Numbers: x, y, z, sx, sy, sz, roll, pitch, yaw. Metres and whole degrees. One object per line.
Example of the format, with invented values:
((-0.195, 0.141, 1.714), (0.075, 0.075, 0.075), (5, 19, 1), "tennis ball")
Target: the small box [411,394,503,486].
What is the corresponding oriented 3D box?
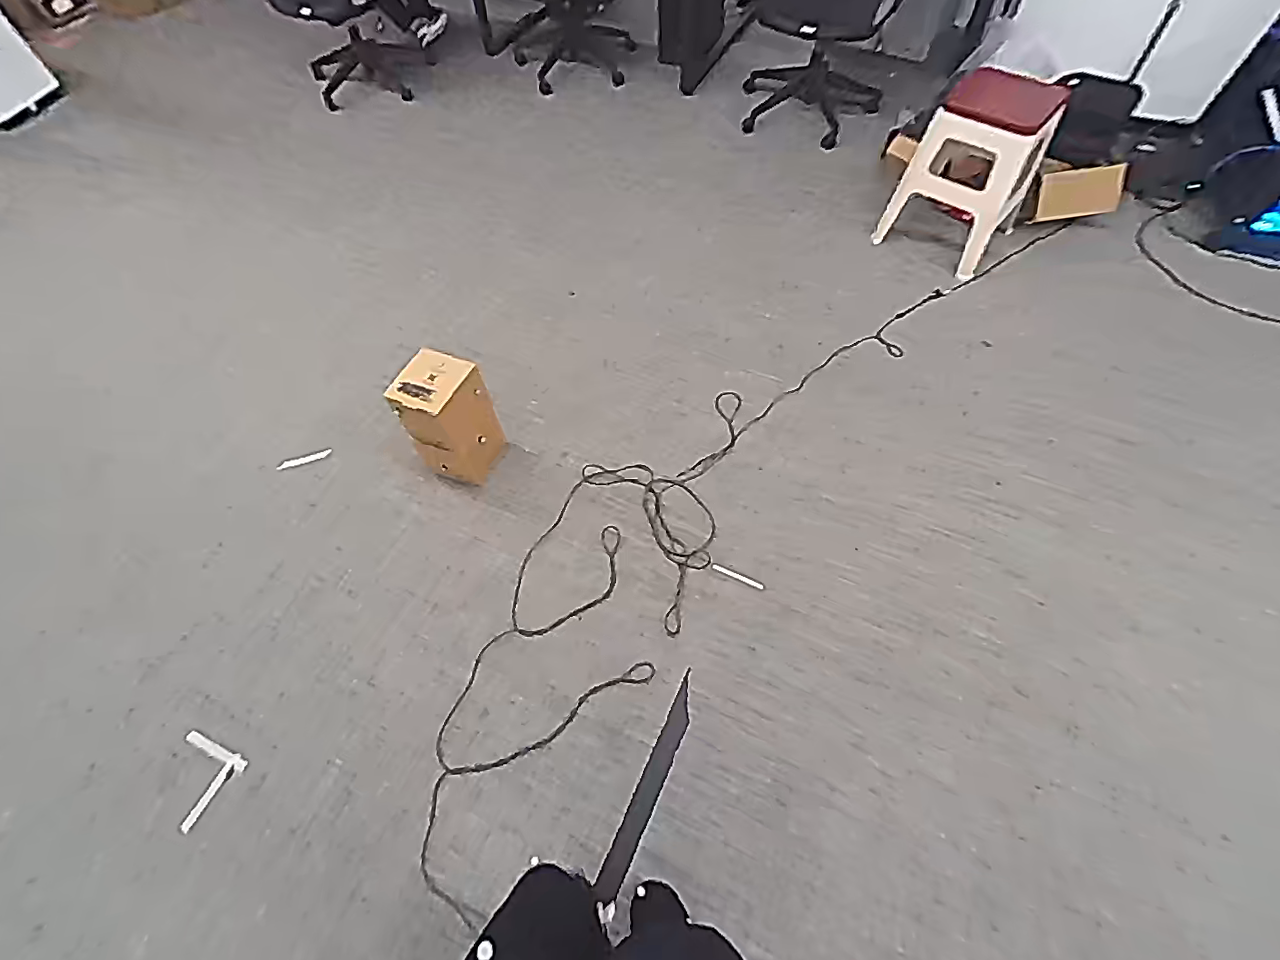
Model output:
((-0.509, -0.111, 1.543), (0.168, 0.176, 0.179), (15, 61, 12), "small box")
